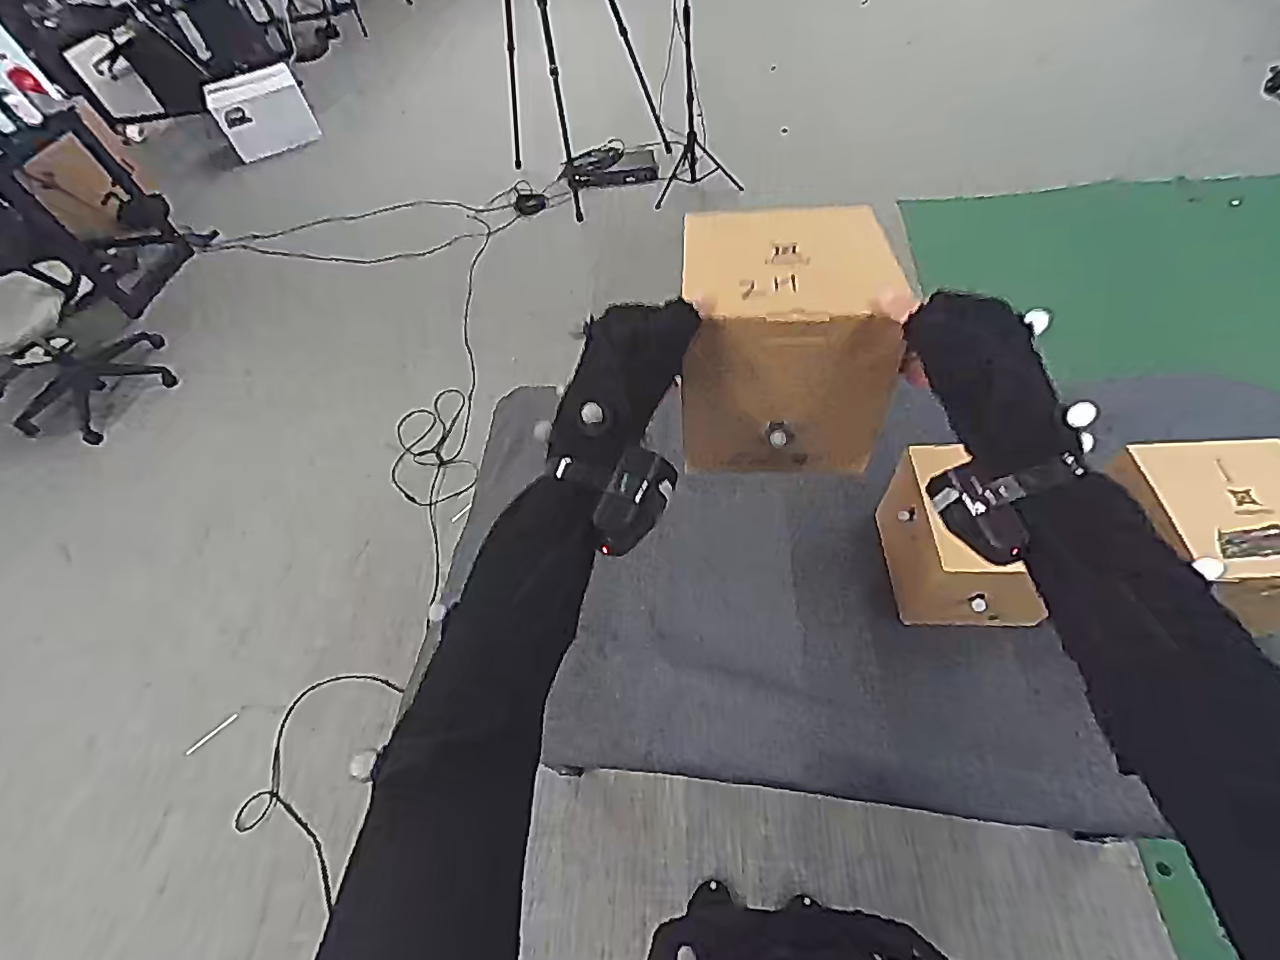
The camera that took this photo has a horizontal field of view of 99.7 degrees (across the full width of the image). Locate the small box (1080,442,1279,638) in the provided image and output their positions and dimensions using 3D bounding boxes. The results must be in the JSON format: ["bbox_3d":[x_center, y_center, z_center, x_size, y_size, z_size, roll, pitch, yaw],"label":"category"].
[{"bbox_3d":[0.655,0.077,0.634,0.168,0.176,0.179,-2,53,7],"label":"small box"}]

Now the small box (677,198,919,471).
[{"bbox_3d":[0.120,-0.129,0.484,0.168,0.176,0.179,1,50,7],"label":"small box"}]

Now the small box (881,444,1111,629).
[{"bbox_3d":[0.417,0.077,0.674,0.168,0.176,0.179,-2,54,8],"label":"small box"}]
